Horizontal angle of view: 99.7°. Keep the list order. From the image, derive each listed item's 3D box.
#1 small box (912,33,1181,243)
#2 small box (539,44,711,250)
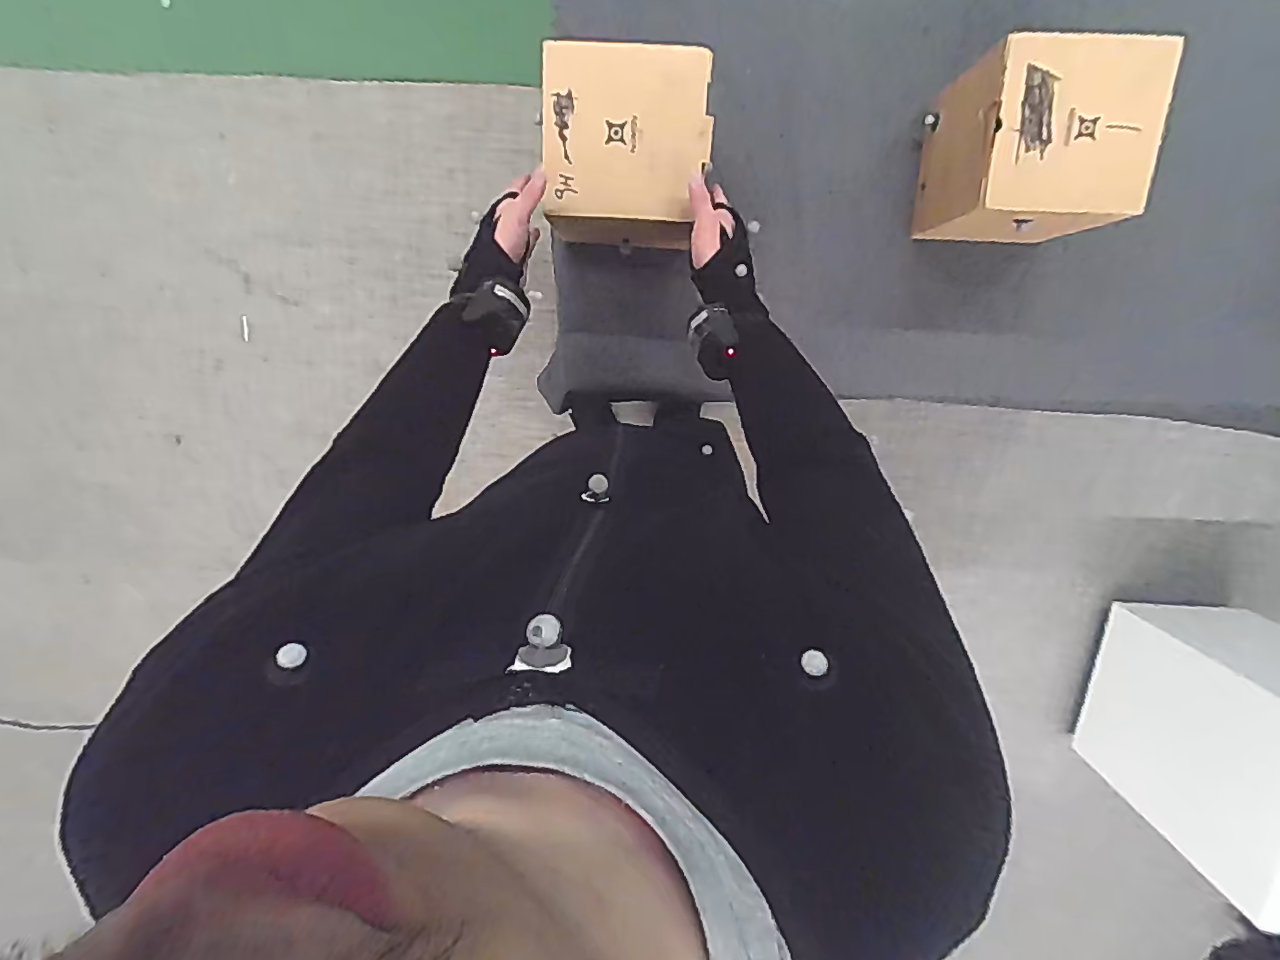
[{"bbox_3d":[0.448,-0.380,0.632,0.179,0.176,0.168,2,105,0],"label":"small box"},{"bbox_3d":[-0.019,-0.376,0.644,0.179,0.176,0.168,3,104,0],"label":"small box"}]
